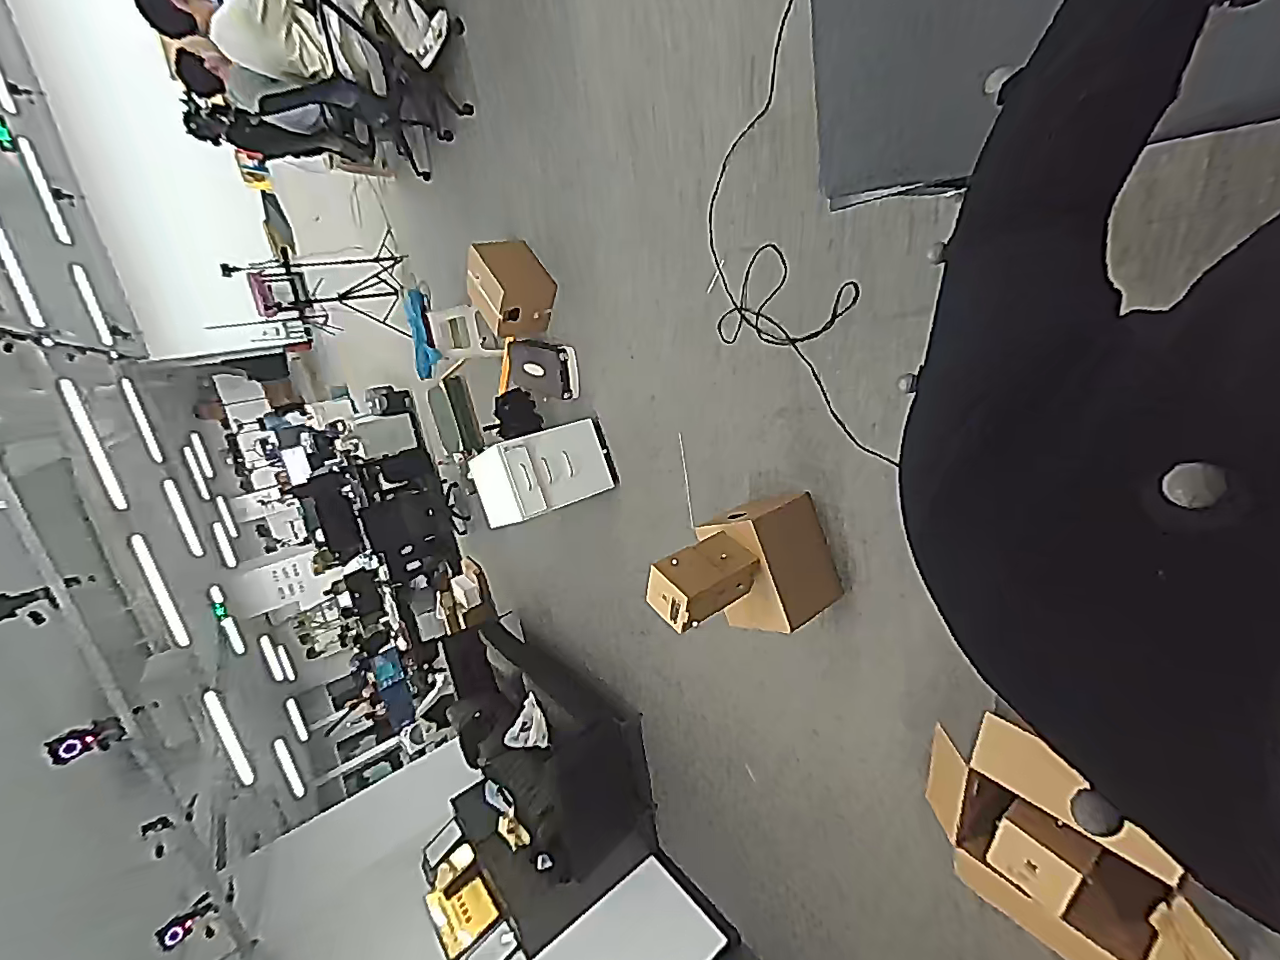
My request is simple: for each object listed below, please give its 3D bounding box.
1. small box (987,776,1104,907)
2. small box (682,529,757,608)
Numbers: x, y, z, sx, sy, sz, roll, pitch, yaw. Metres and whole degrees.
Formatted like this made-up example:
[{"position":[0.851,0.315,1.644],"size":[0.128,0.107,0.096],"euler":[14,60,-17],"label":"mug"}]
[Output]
[{"position":[1.004,0.883,1.338],"size":[0.168,0.176,0.179],"euler":[30,131,48],"label":"small box"},{"position":[0.273,0.295,1.845],"size":[0.179,0.176,0.168],"euler":[37,134,36],"label":"small box"}]
